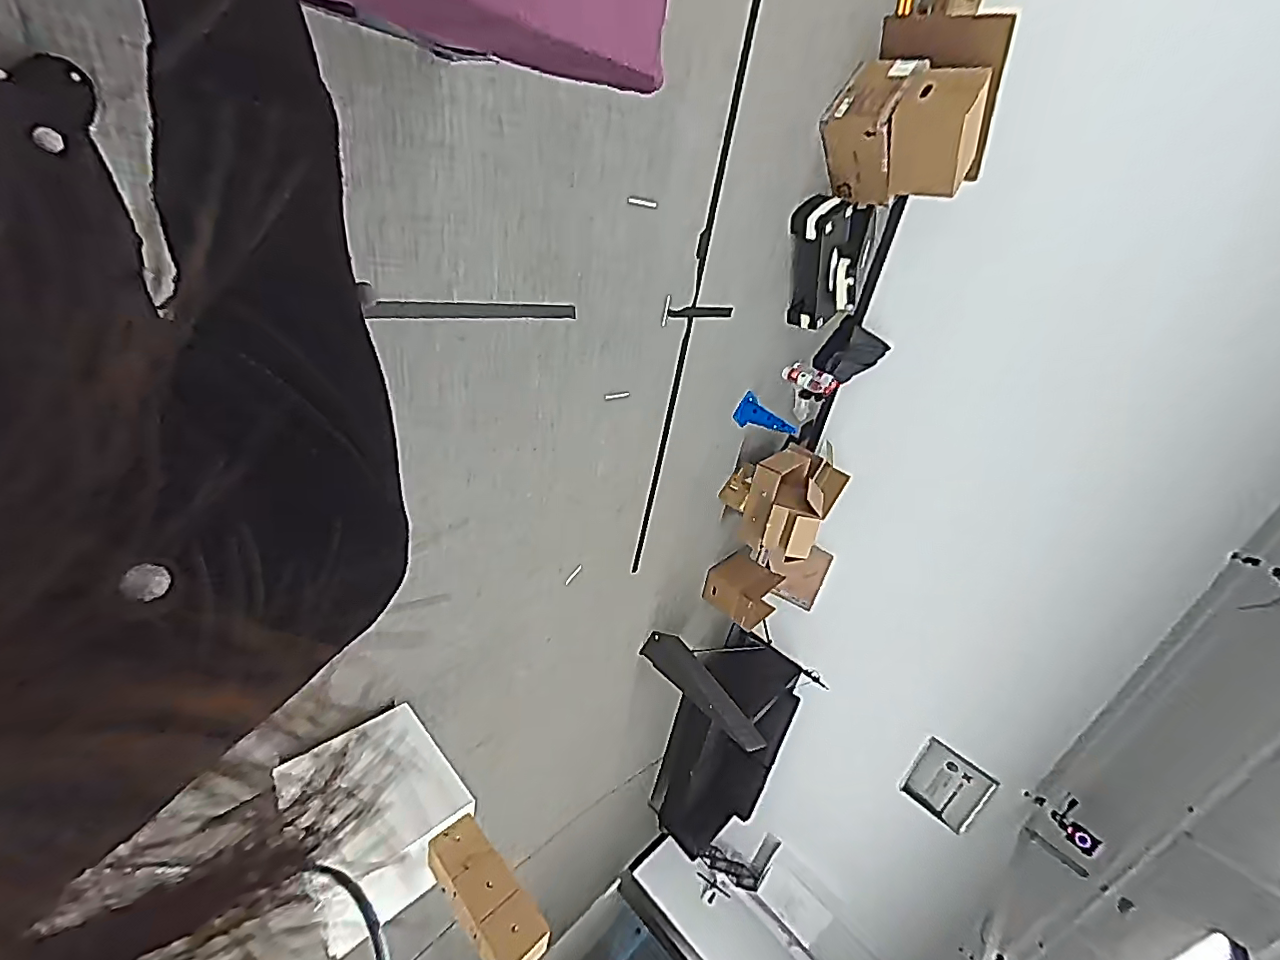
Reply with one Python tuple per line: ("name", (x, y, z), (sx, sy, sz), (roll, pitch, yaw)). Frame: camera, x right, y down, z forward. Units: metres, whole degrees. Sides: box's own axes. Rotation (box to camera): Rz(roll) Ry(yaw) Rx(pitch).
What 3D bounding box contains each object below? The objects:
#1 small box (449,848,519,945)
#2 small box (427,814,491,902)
("small box", (-0.552, 1.454, 1.896), (0.179, 0.176, 0.168), (-17, 131, -44))
("small box", (-0.668, 1.383, 1.989), (0.168, 0.176, 0.179), (-18, 131, -44))
